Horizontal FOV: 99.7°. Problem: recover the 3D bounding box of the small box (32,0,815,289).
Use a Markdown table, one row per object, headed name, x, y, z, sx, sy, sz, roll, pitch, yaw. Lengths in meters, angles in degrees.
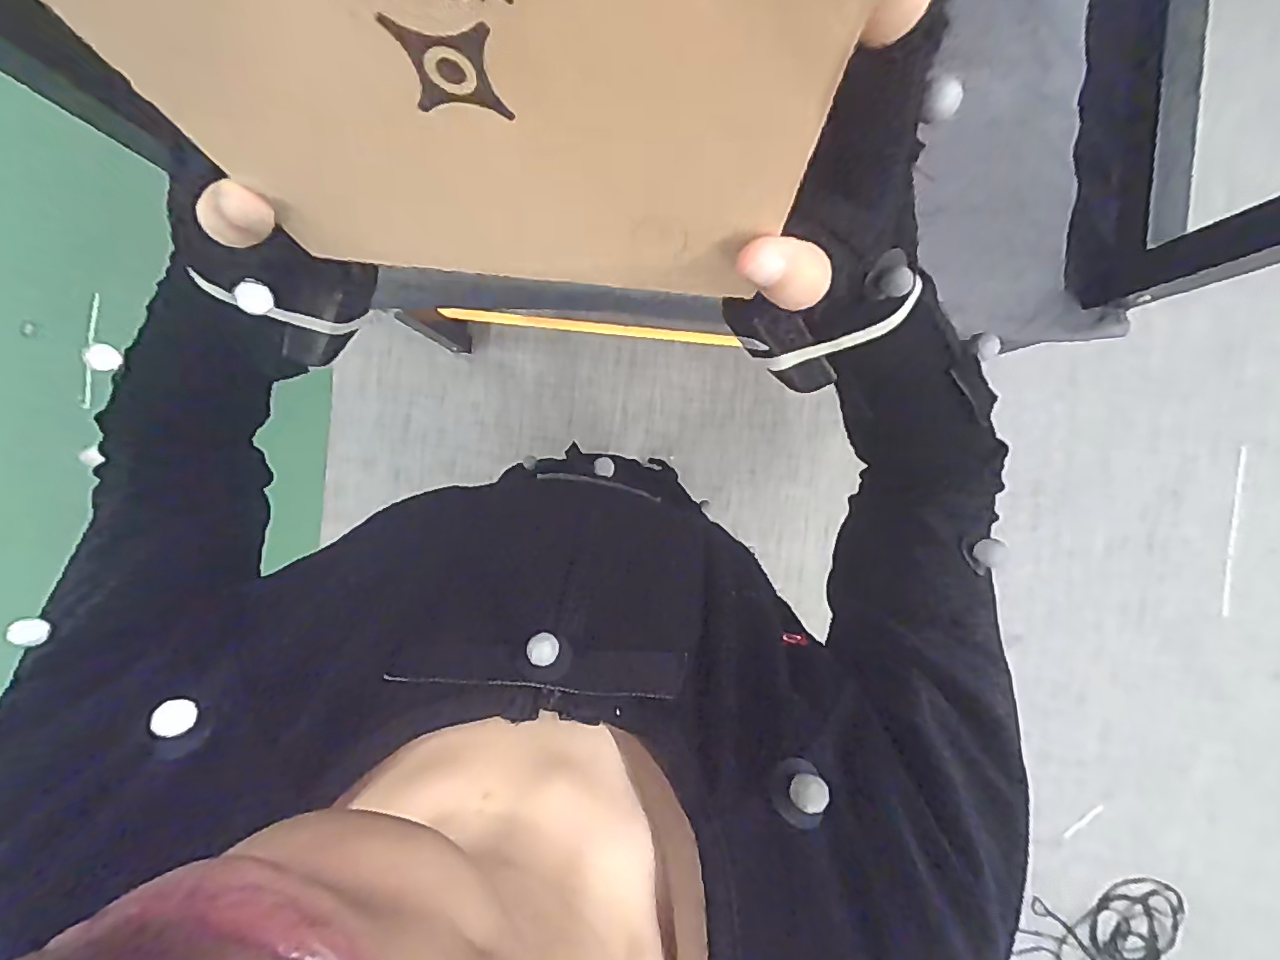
| name | x | y | z | sx | sy | sz | roll | pitch | yaw |
| --- | --- | --- | --- | --- | --- | --- | --- | --- | --- |
| small box | -0.038 | -0.173 | 0.126 | 0.168 | 0.179 | 0.176 | 7 | 80 | 3 |
